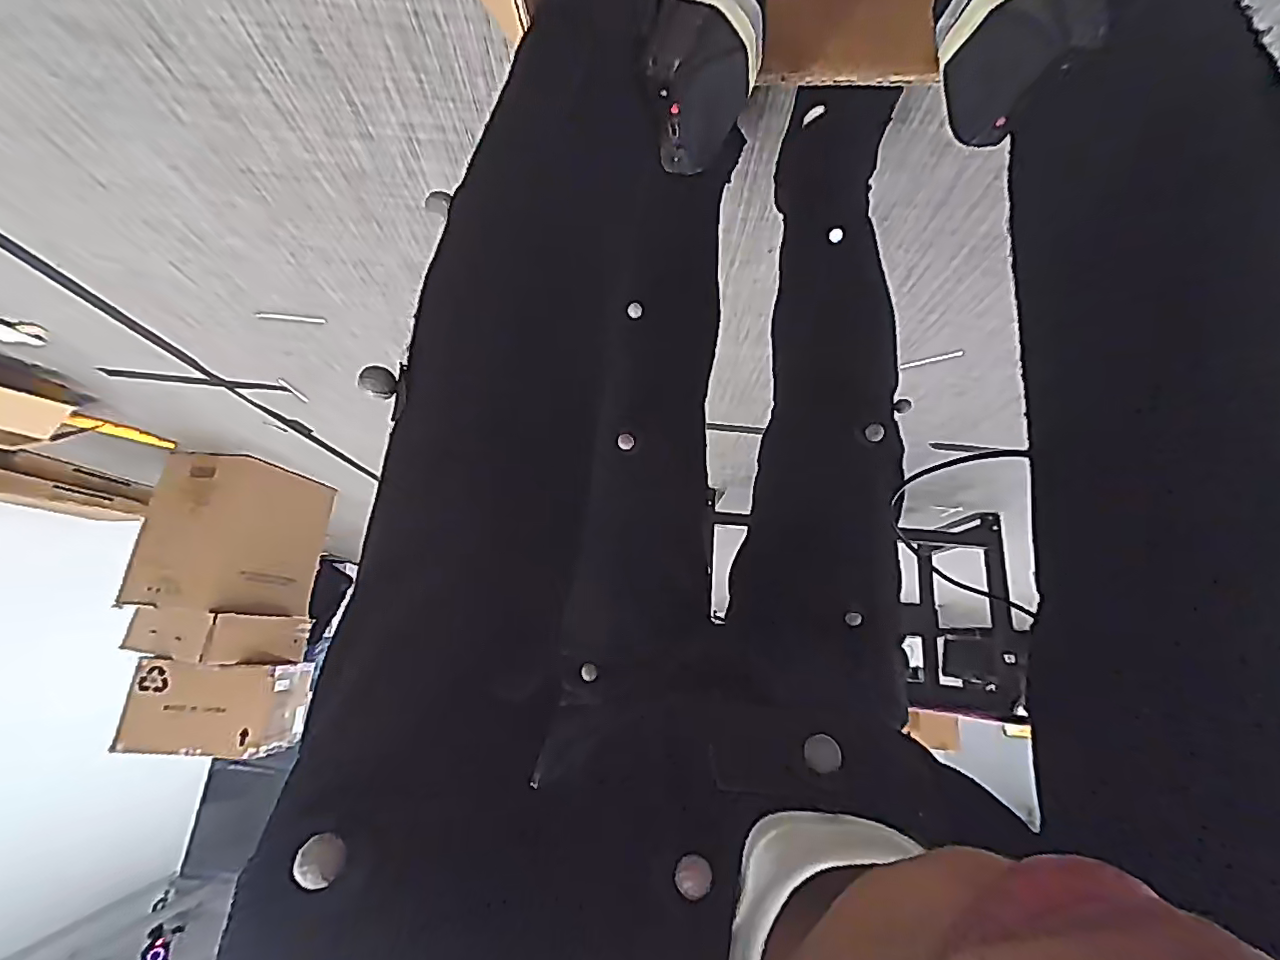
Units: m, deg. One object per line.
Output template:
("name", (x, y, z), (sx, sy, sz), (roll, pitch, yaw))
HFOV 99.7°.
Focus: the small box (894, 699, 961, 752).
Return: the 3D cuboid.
("small box", (1.124, 0.963, 2.132), (0.168, 0.176, 0.179), (7, 163, -5))
